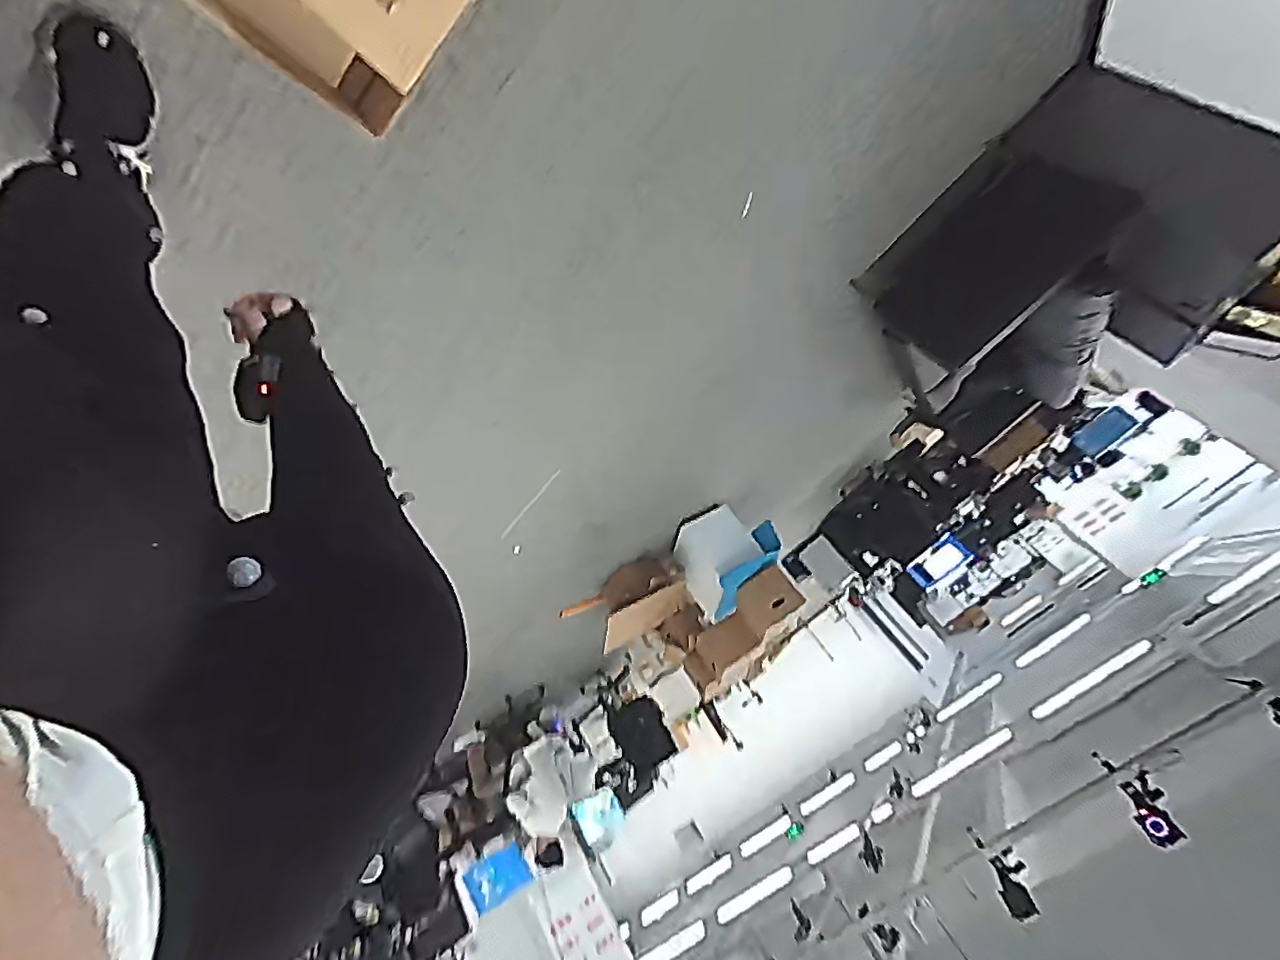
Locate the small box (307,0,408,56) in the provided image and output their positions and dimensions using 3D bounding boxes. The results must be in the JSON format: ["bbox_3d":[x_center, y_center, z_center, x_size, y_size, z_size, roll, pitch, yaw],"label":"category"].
[{"bbox_3d":[-0.479,-0.845,0.862,0.179,0.176,0.168,-44,151,15],"label":"small box"}]
